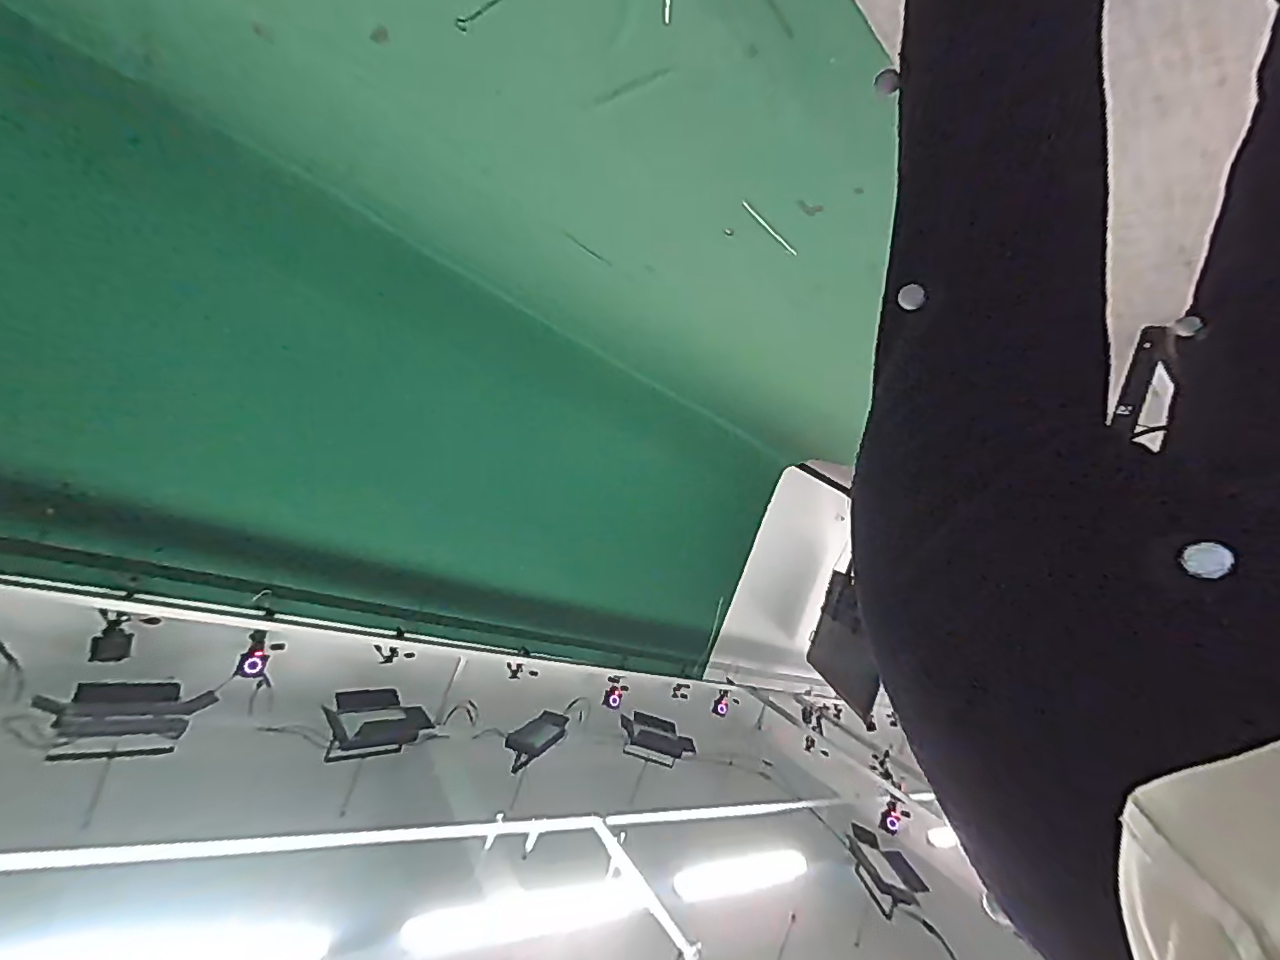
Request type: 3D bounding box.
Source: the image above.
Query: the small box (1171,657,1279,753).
[{"bbox_3d":[1.514,0.572,1.388,0.179,0.176,0.168,24,178,-35],"label":"small box"}]
